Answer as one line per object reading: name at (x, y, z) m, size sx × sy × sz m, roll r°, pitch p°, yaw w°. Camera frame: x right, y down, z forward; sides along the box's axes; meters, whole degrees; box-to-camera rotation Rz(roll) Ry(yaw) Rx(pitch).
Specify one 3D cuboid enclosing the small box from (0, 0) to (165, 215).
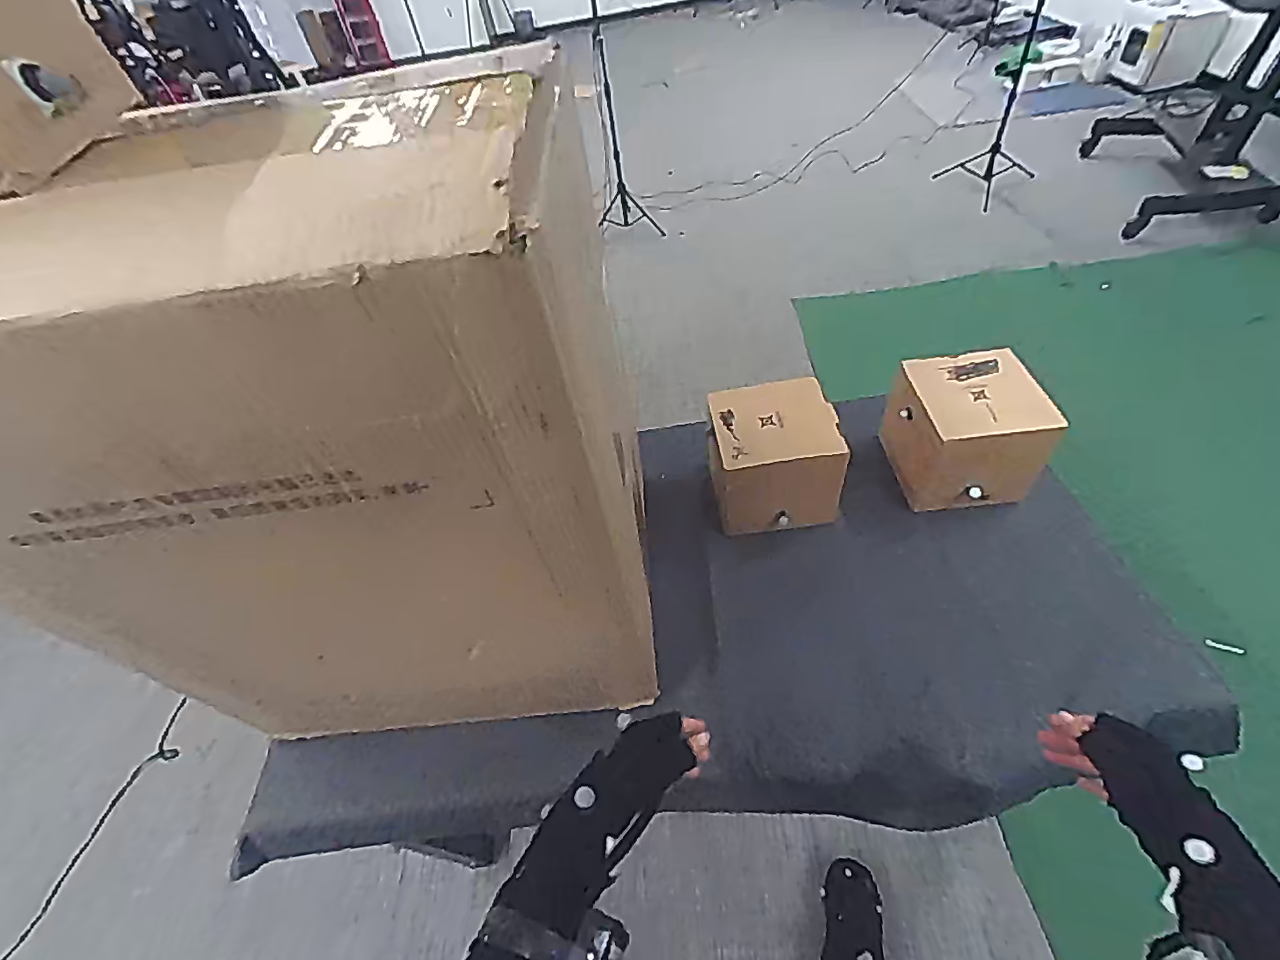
small box at (-0.462, -0.272, 0.326) m, size 0.179 × 0.176 × 0.168 m, roll -10°, pitch 54°, yaw 0°

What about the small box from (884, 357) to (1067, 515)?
small box at (0.504, -0.067, 0.850) m, size 0.168 × 0.176 × 0.179 m, roll -6°, pitch 49°, yaw 5°
